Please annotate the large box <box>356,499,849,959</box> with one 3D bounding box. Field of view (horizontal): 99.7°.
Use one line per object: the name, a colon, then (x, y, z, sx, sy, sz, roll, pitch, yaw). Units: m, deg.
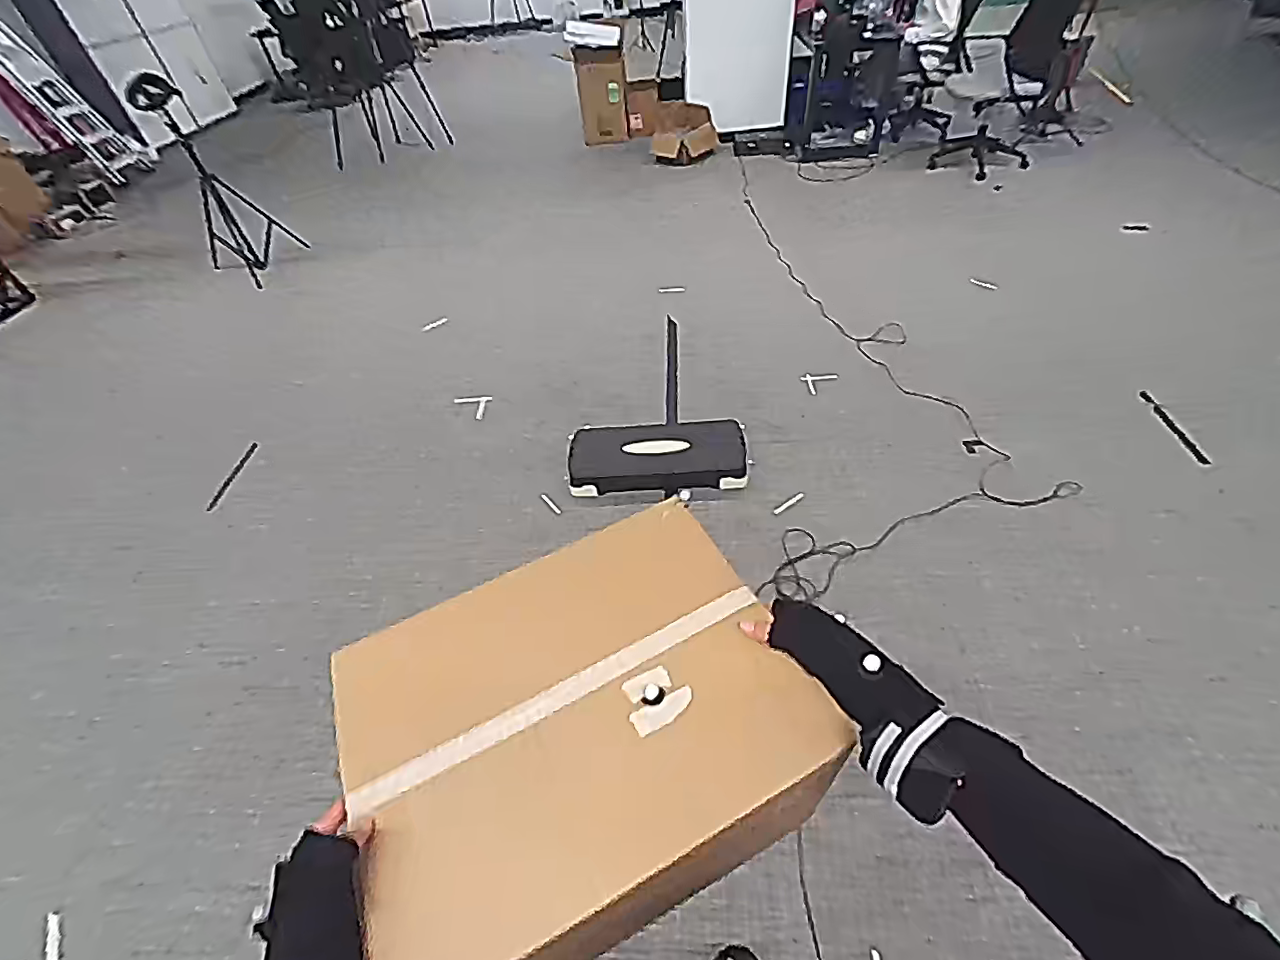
large box: (-0.043, 0.295, 0.625, 0.408, 0.320, 0.320, -23, 49, -13)
